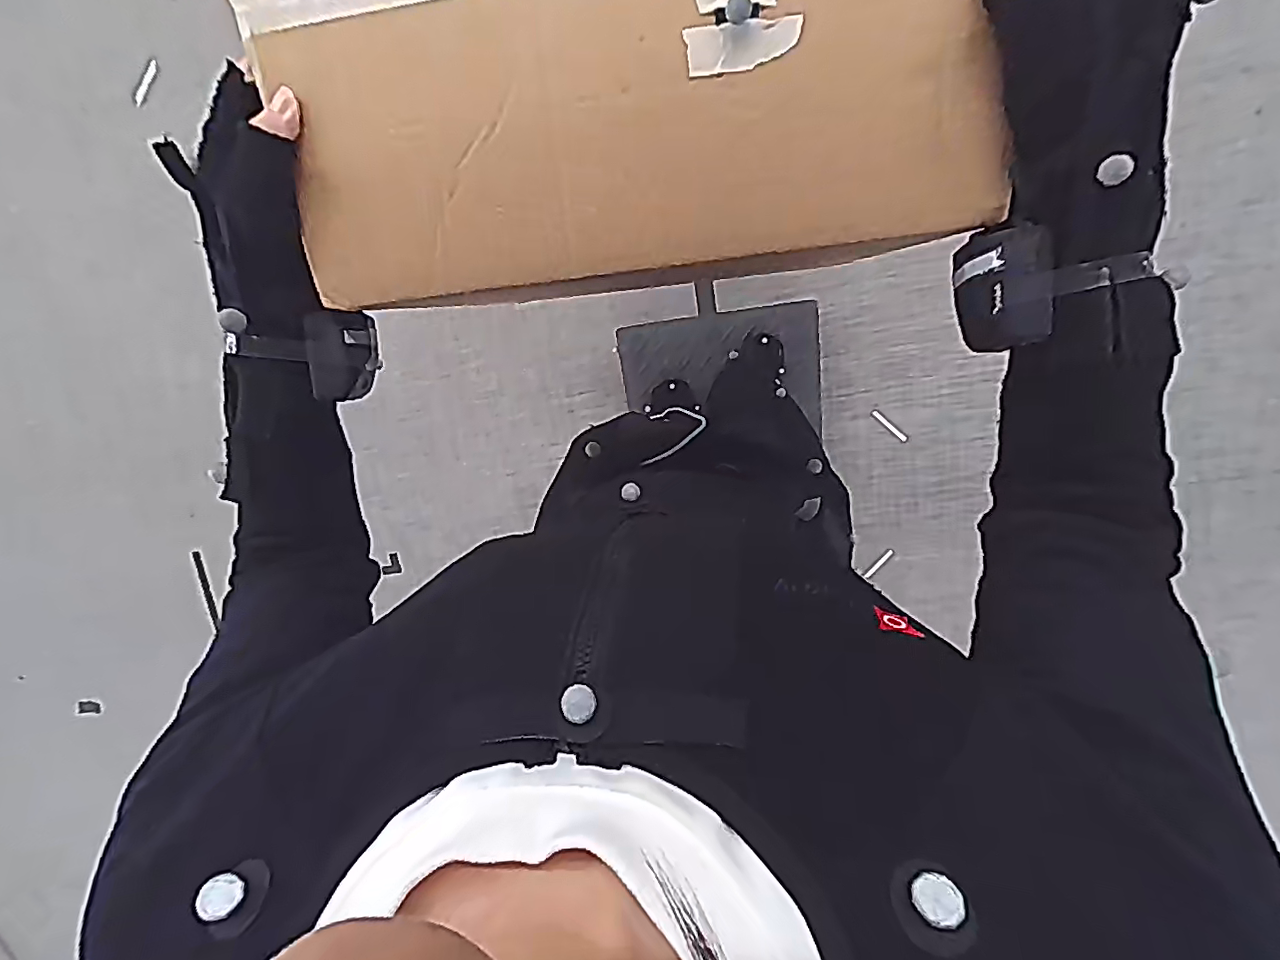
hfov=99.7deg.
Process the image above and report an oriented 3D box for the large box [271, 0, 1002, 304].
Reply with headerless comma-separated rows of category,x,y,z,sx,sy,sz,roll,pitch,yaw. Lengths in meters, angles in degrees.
large box,-0.003,-0.327,0.428,0.408,0.320,0.320,-5,108,7
